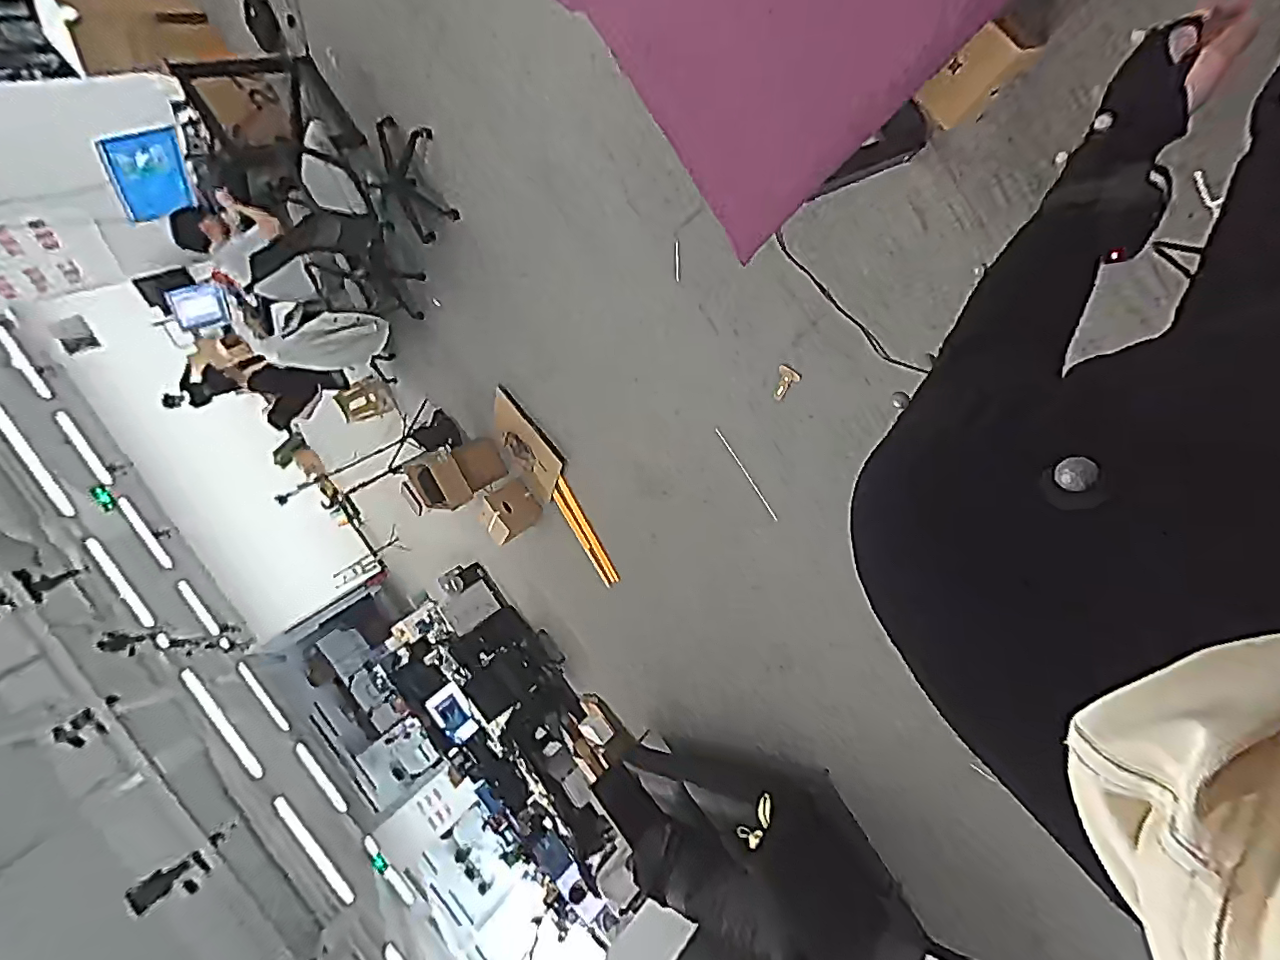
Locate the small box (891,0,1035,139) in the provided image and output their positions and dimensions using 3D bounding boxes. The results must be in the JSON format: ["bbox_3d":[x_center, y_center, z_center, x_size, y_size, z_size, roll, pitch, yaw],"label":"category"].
[{"bbox_3d":[0.678,-0.861,1.132,0.179,0.176,0.168,52,146,5],"label":"small box"}]
